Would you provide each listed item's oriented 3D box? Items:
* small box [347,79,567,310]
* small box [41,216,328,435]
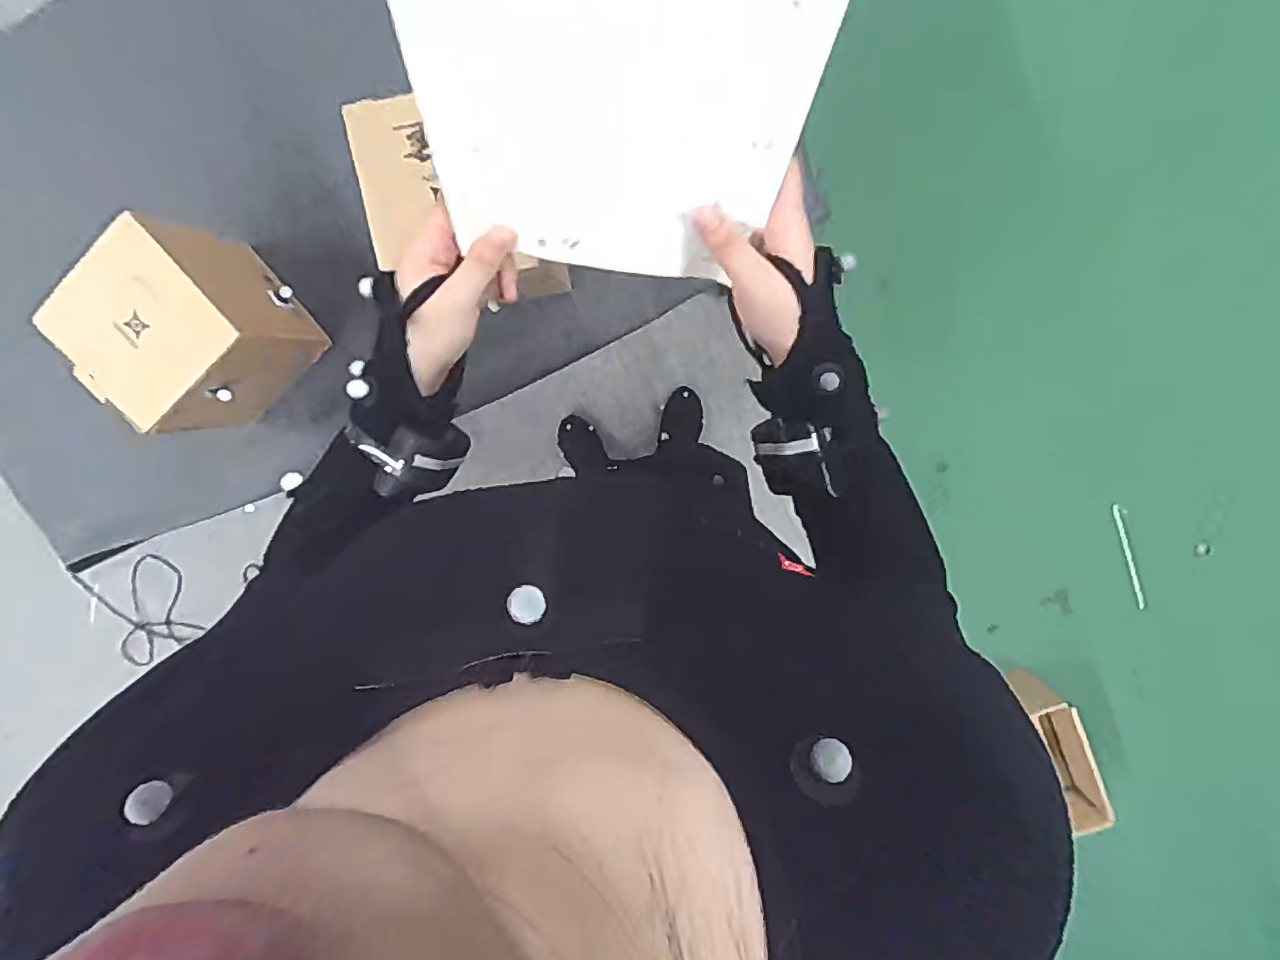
[{"bbox_3d":[-0.189,-0.302,0.611,0.168,0.176,0.179,-8,101,6],"label":"small box"},{"bbox_3d":[-0.535,-0.178,0.663,0.179,0.176,0.168,-39,97,10],"label":"small box"}]
